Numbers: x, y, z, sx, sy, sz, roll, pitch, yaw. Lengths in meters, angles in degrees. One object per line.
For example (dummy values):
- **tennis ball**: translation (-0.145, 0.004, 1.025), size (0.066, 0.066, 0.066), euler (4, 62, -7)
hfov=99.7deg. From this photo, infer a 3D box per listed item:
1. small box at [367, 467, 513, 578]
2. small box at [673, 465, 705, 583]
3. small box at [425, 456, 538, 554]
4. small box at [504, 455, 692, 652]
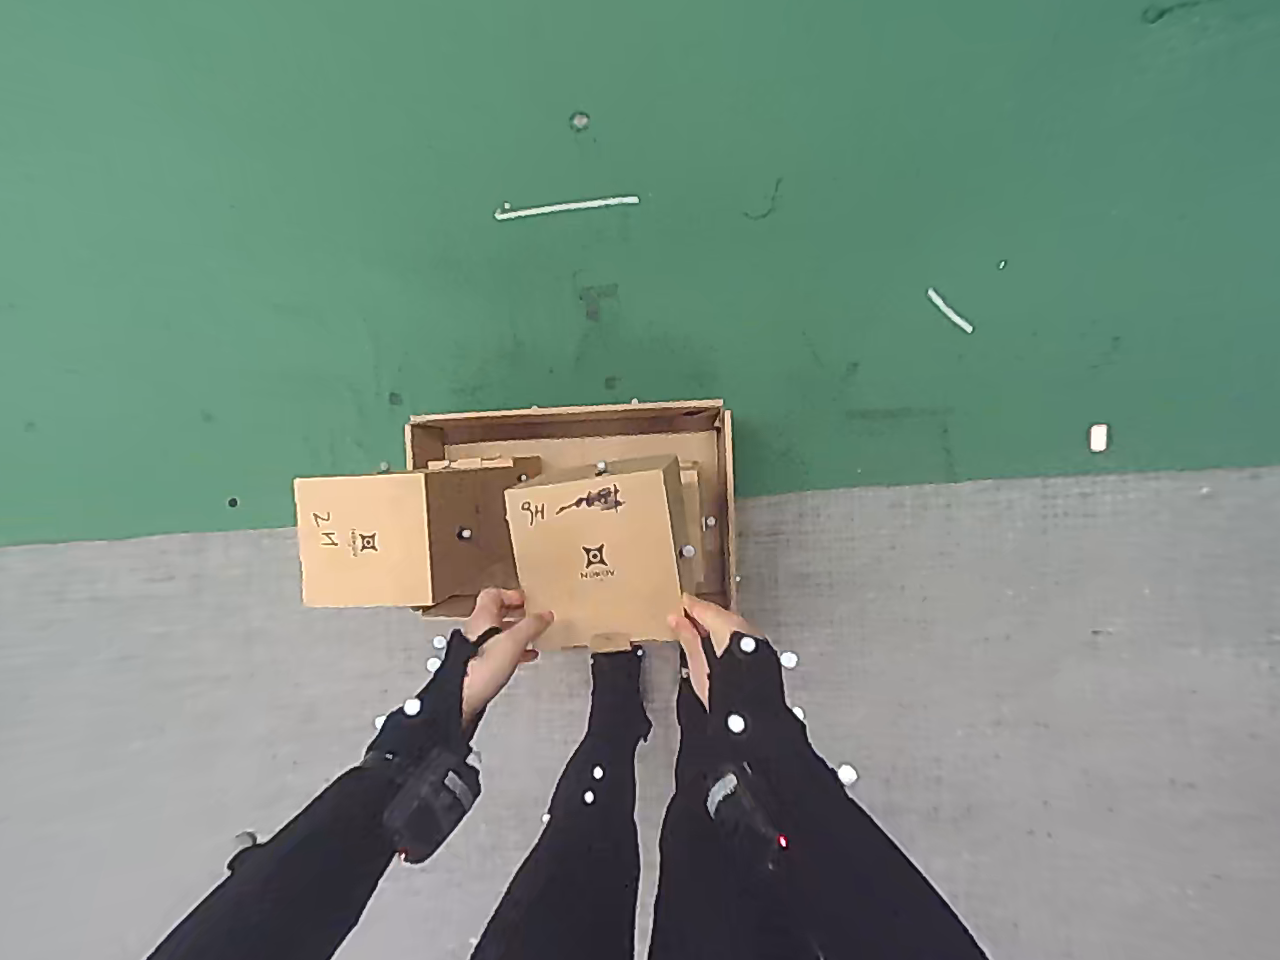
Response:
- **small box**: translation (-0.325, 0.065, 0.909), size (0.179, 0.176, 0.168), euler (-2, 94, 6)
- **small box**: translation (0.011, 0.065, 0.868), size (0.179, 0.176, 0.168), euler (-4, 95, 8)
- **small box**: translation (-0.301, 0.046, 1.070), size (0.168, 0.176, 0.179), euler (-3, 94, 7)
- **small box**: translation (-0.035, 0.075, 0.624), size (0.168, 0.176, 0.179), euler (-8, 98, 9)
